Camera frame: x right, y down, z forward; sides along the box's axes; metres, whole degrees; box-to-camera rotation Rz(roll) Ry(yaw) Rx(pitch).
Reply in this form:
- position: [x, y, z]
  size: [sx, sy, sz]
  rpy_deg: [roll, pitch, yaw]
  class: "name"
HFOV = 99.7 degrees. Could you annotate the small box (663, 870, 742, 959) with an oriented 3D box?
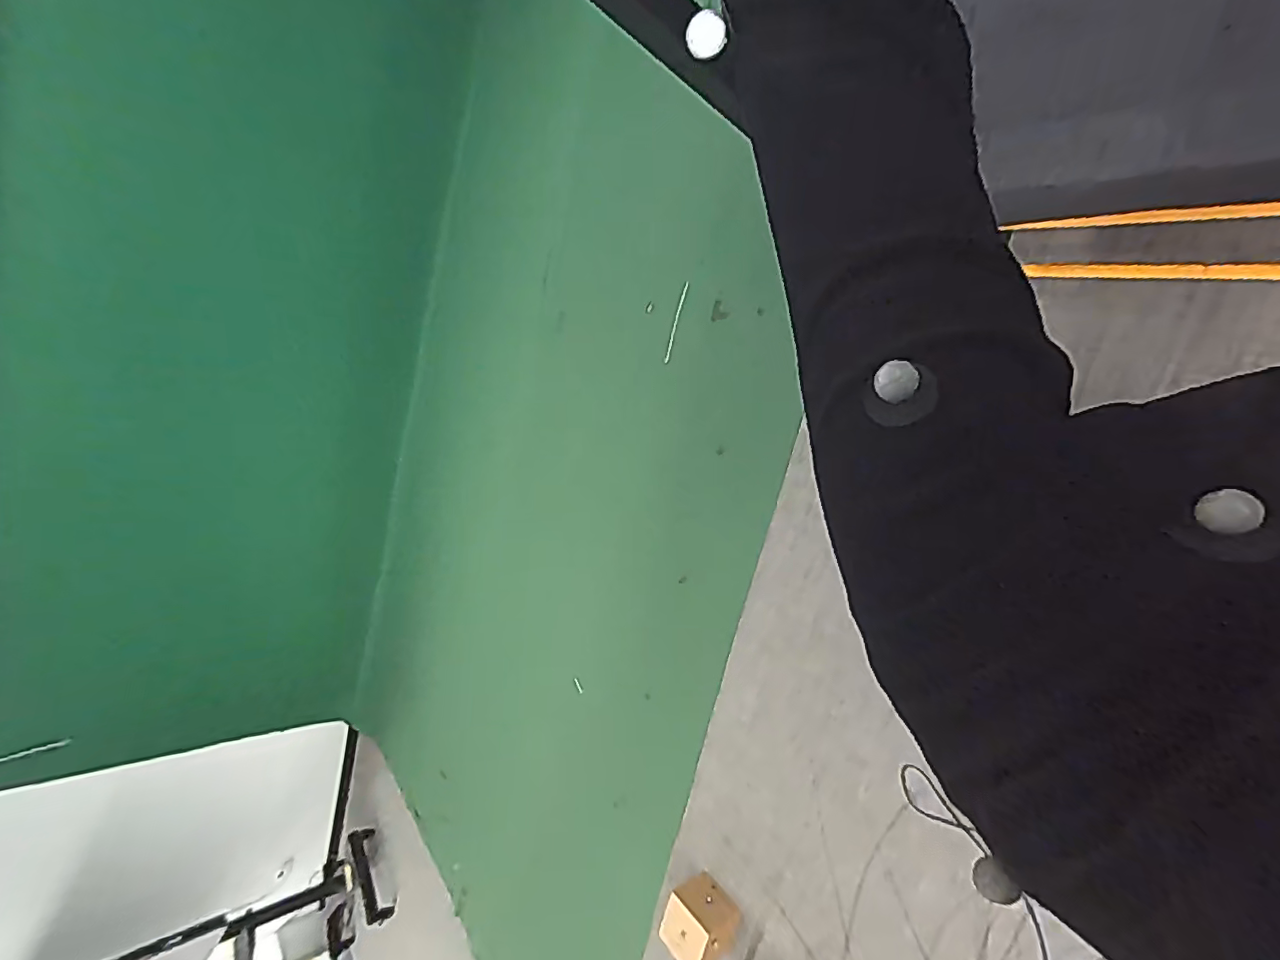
- position: [0.207, 1.425, 1.752]
  size: [0.168, 0.176, 0.179]
  rpy_deg: [24, 104, 46]
  class: "small box"
